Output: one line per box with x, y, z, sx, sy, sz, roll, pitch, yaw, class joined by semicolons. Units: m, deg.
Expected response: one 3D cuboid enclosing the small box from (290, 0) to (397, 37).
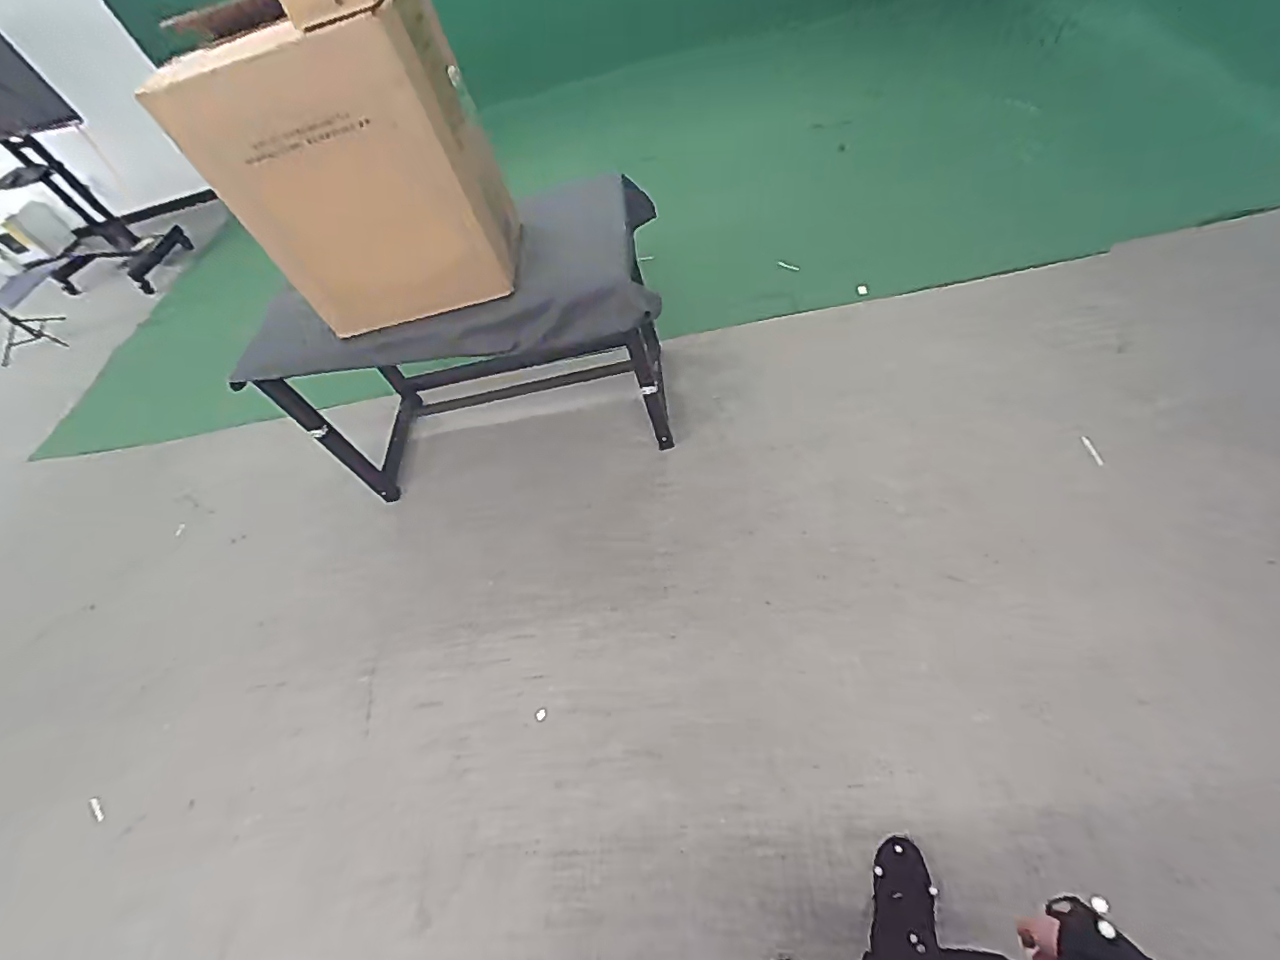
-0.572;-0.962;1.003;0.168;0.176;0.179;-11;54;7;small box
